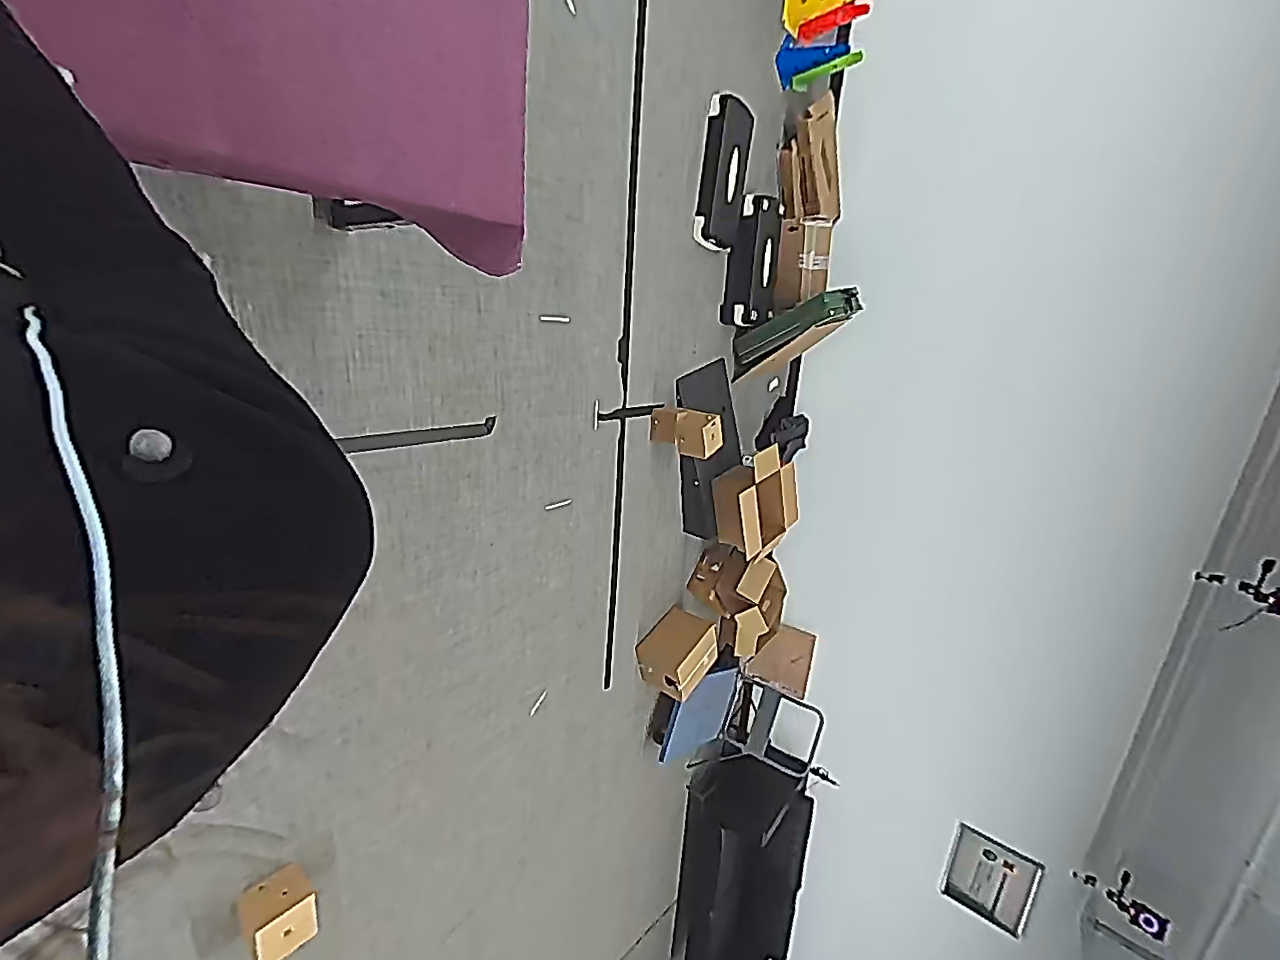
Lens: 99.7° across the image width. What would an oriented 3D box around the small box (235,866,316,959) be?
[{"bbox_3d":[-1.167,1.388,1.732,0.168,0.176,0.179,-15,116,-51],"label":"small box"}]
